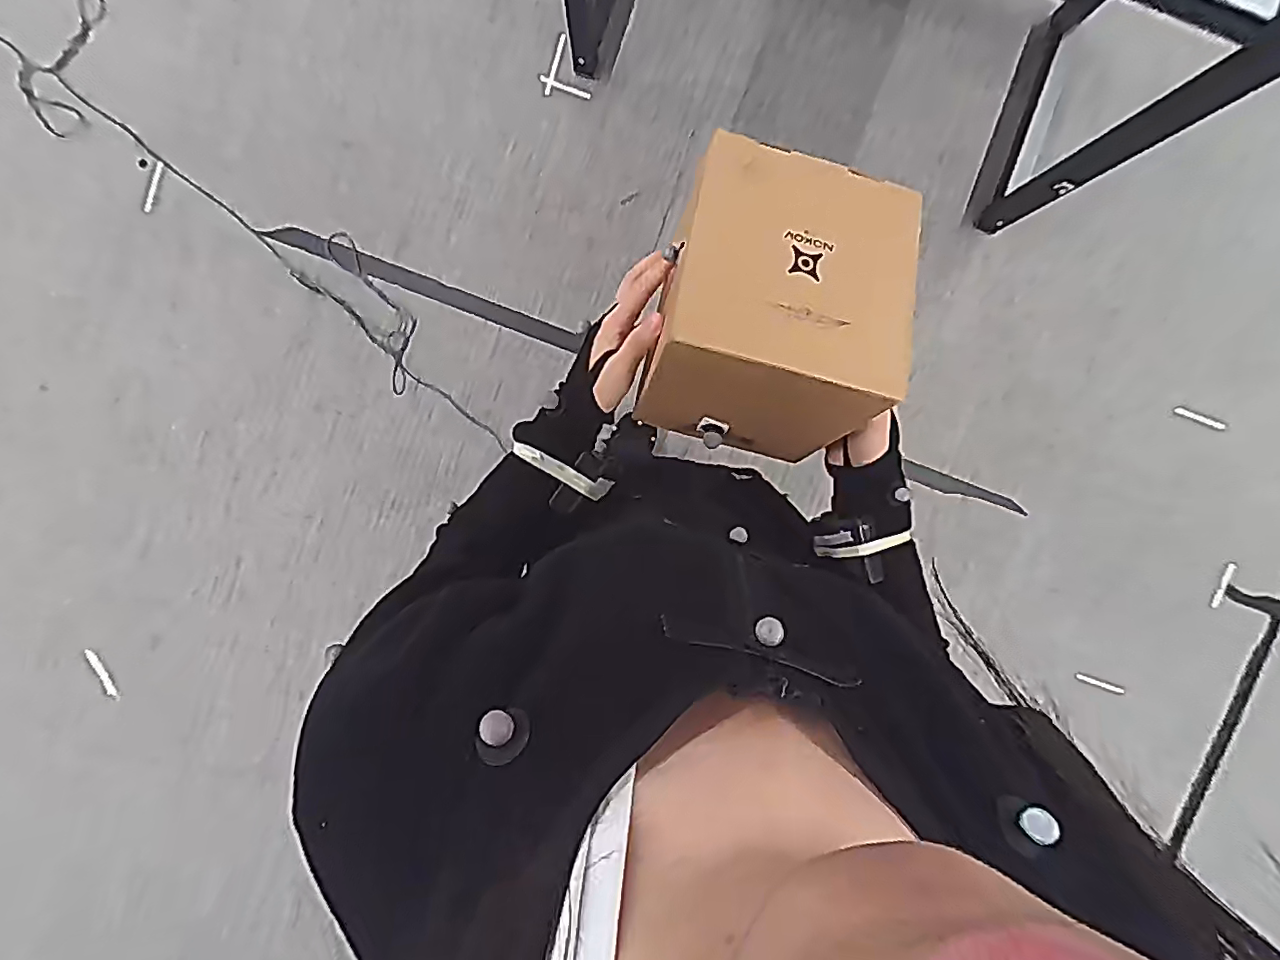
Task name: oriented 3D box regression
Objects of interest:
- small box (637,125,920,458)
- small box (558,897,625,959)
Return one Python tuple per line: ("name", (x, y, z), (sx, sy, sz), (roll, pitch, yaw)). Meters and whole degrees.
("small box", (0.100, -0.136, 0.449), (0.168, 0.176, 0.179), (13, 76, -6))
("small box", (-0.139, 1.333, 1.536), (0.179, 0.176, 0.168), (7, 95, -3))
